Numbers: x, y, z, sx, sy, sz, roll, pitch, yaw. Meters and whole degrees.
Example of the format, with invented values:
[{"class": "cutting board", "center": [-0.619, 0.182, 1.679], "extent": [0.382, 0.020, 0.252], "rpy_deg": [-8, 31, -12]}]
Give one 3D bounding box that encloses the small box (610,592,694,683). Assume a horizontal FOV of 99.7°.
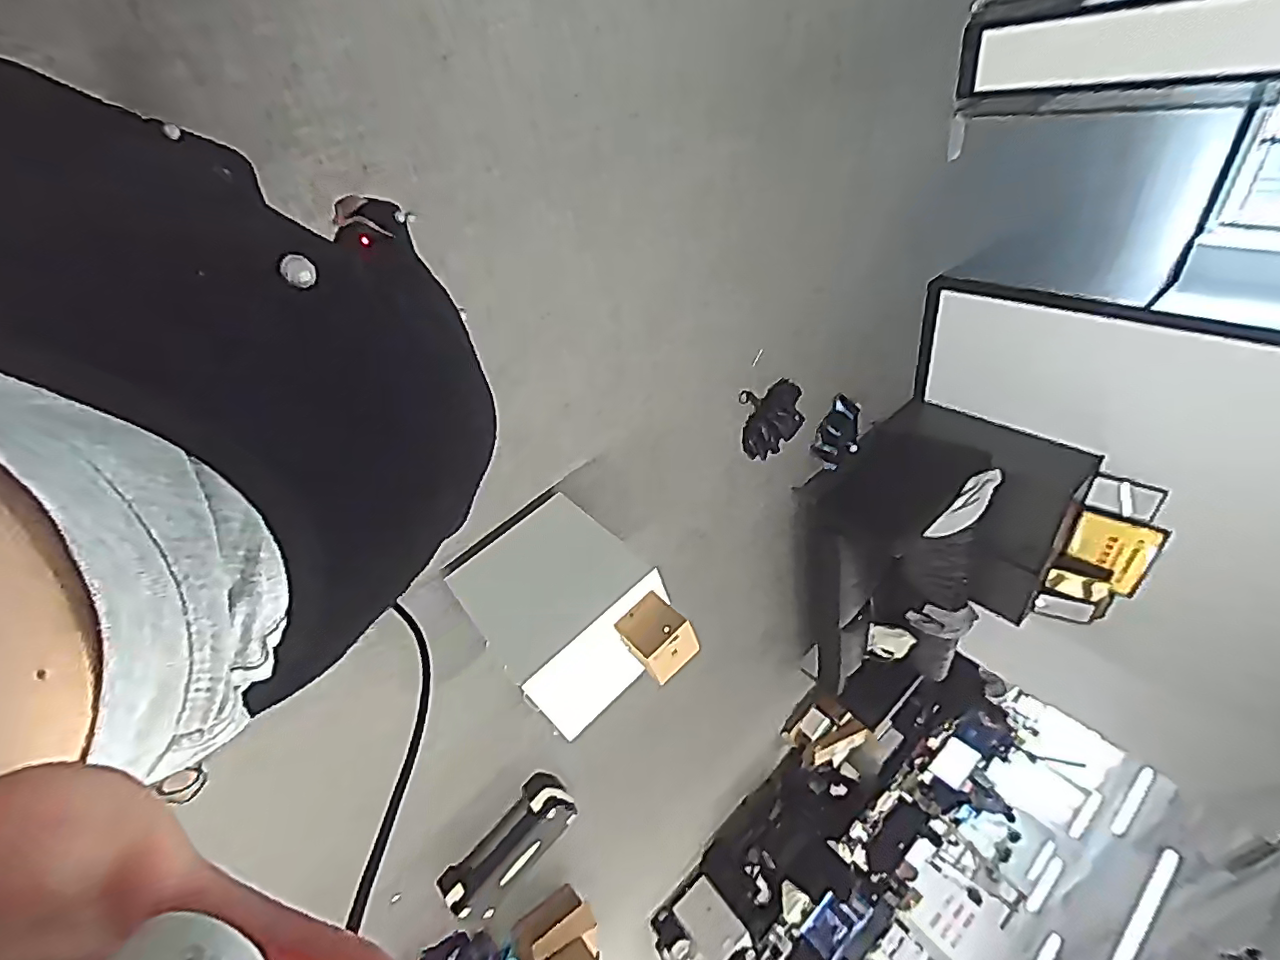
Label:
[{"class": "small box", "center": [0.036, 0.476, 1.650], "extent": [0.168, 0.176, 0.179], "rpy_deg": [-39, 137, -18]}]
